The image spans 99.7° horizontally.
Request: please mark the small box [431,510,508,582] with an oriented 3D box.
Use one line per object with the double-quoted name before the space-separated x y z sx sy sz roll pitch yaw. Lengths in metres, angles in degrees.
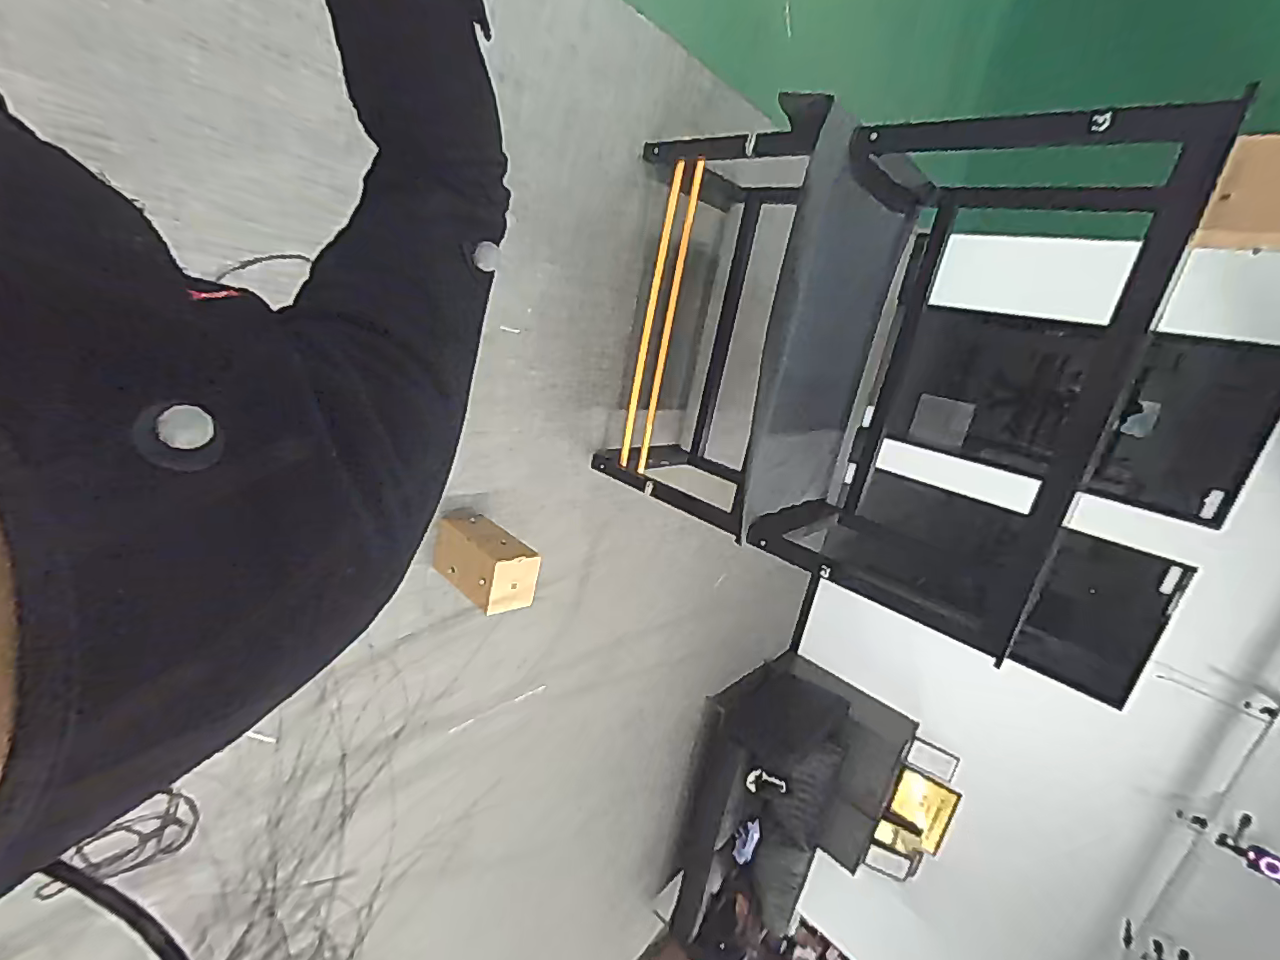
"small box" -0.563 0.212 1.773 0.168 0.176 0.179 0 110 -50
